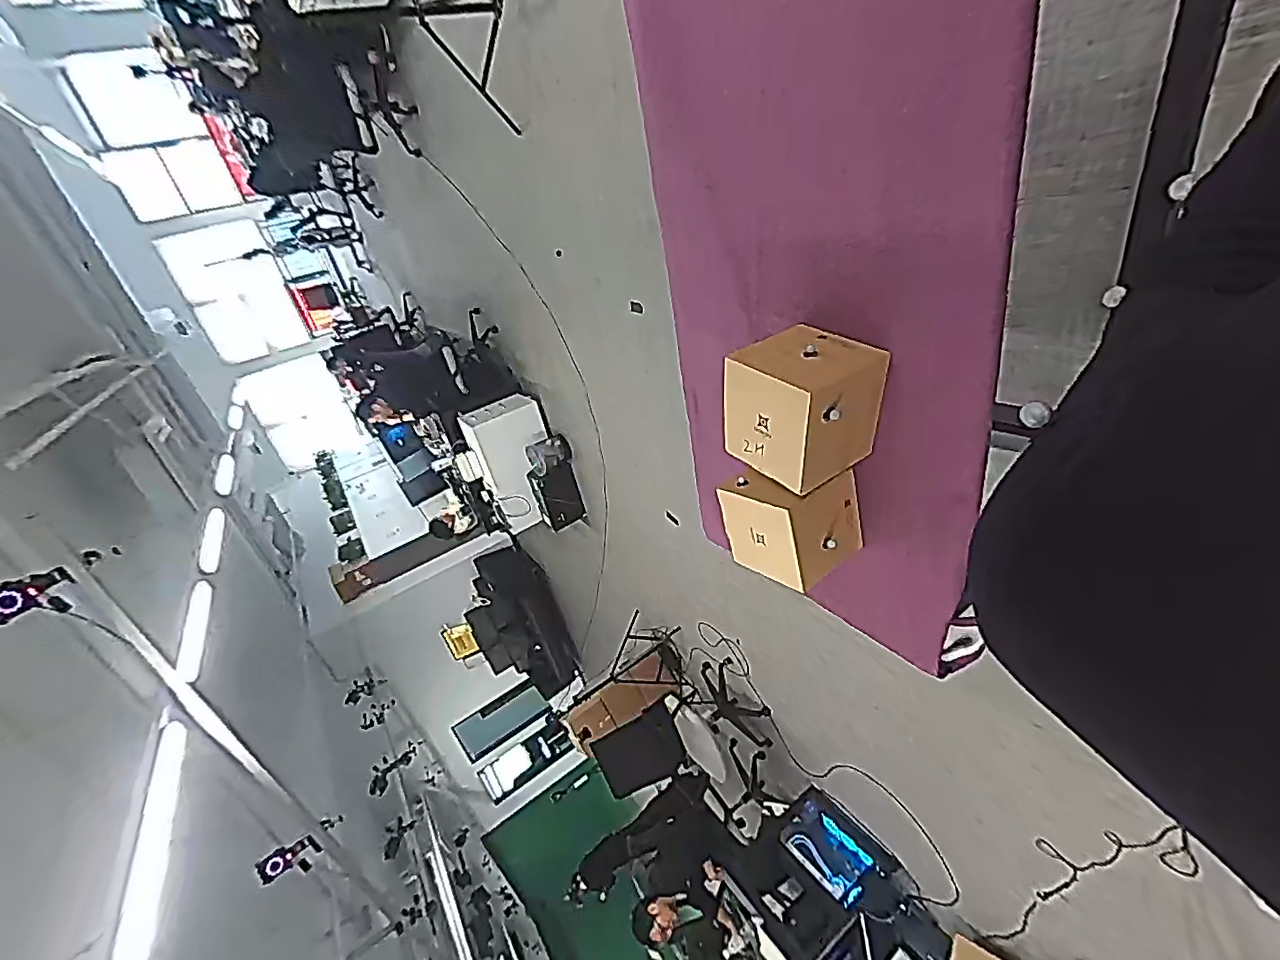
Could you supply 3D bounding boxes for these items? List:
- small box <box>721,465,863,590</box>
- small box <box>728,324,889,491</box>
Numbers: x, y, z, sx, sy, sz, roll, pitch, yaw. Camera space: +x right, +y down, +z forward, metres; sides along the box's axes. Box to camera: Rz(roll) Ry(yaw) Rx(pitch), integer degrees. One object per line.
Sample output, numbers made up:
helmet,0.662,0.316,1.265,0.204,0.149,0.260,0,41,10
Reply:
small box,0.278,0.063,0.971,0.179,0.176,0.168,19,132,57
small box,0.253,-0.120,0.828,0.168,0.176,0.179,39,147,44
